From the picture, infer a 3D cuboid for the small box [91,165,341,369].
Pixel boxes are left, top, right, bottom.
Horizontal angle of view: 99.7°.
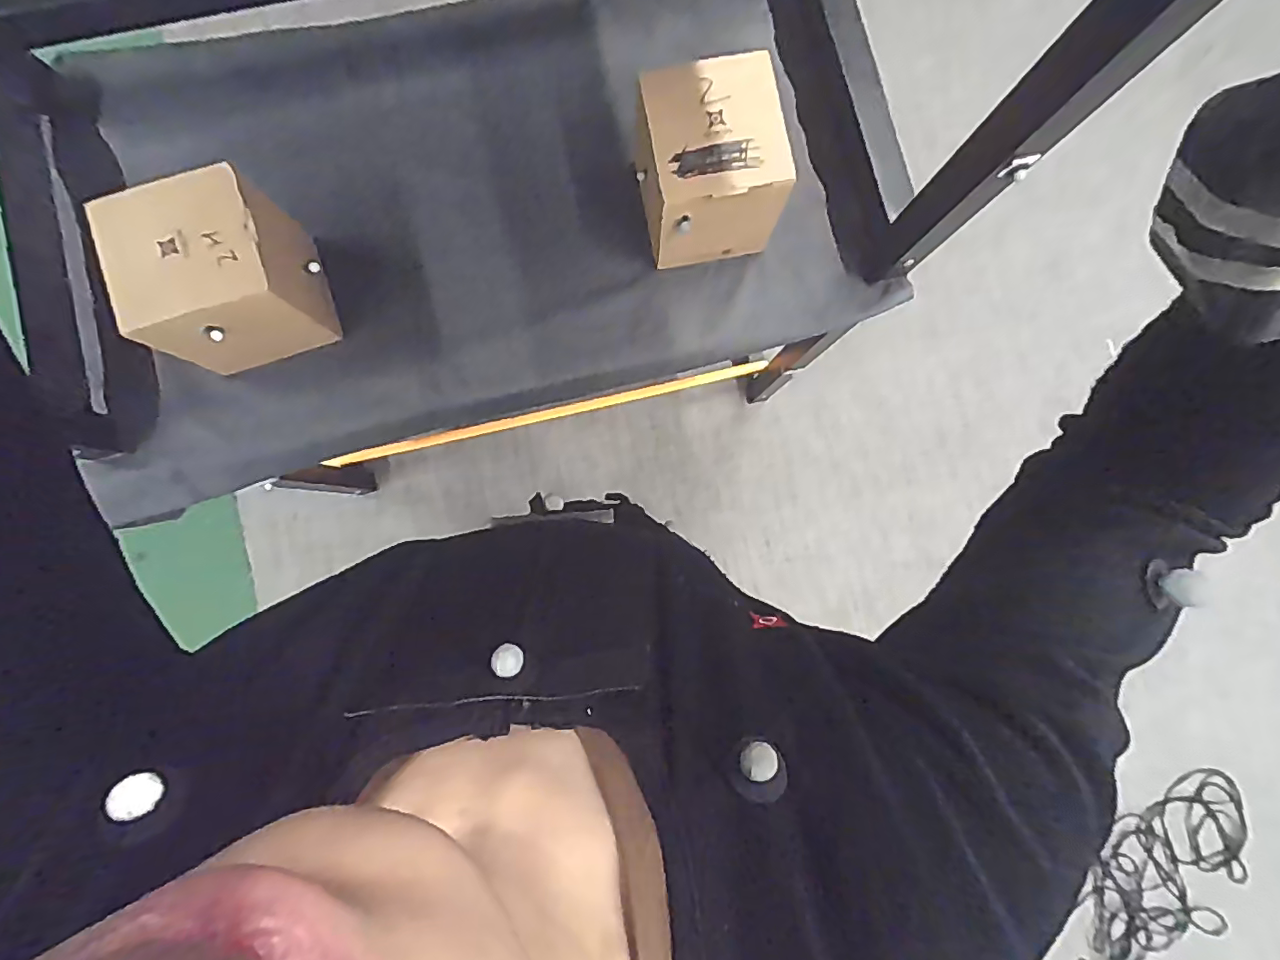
[{"bbox_3d":[-0.534,-0.261,0.705,0.179,0.176,0.168,-18,86,-4],"label":"small box"}]
